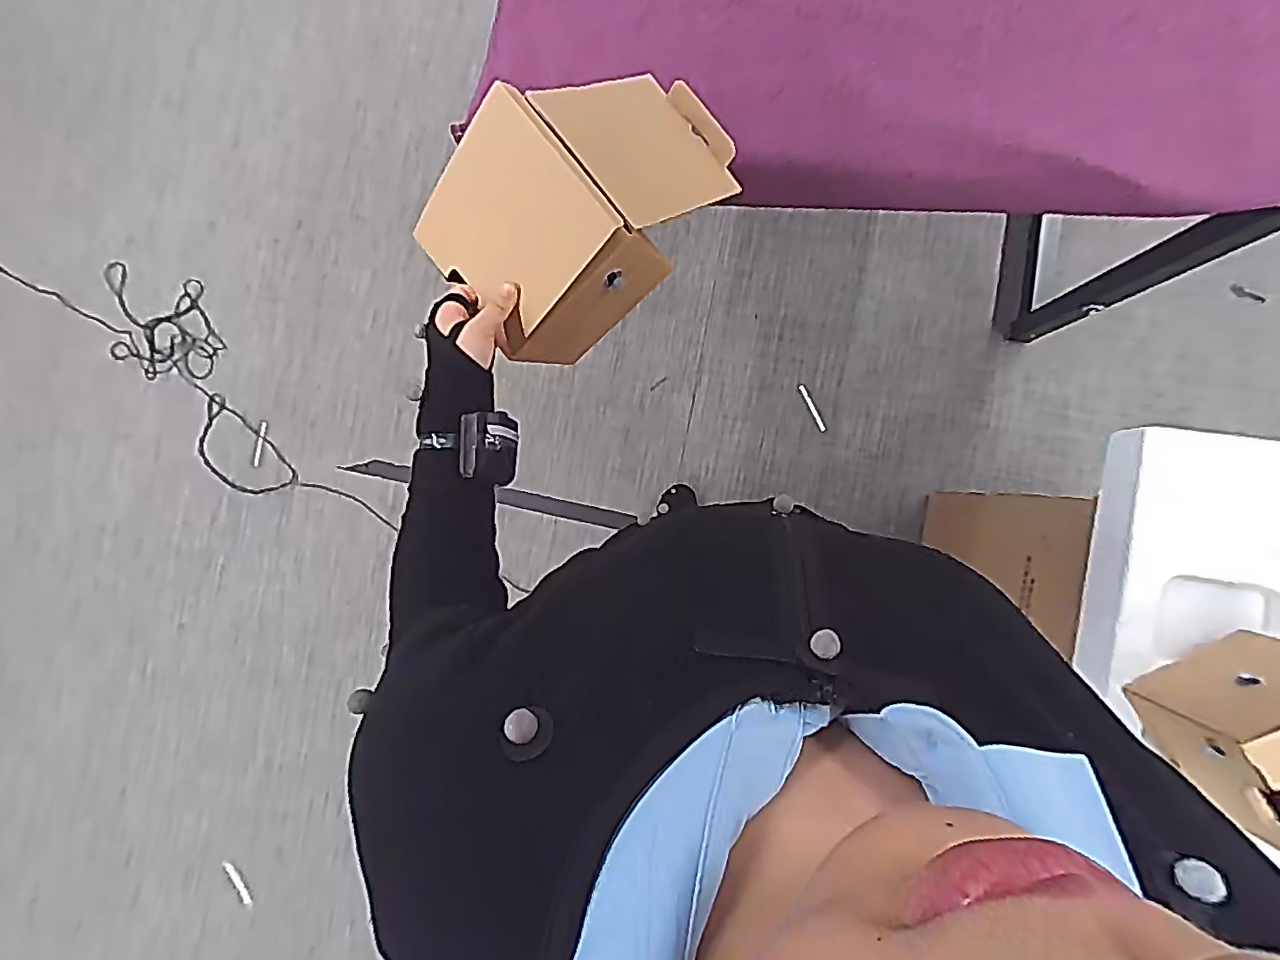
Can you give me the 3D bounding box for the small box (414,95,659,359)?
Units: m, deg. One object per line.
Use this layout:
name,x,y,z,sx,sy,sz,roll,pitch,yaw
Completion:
small box,-0.096,-0.253,0.593,0.179,0.176,0.168,-39,87,18
